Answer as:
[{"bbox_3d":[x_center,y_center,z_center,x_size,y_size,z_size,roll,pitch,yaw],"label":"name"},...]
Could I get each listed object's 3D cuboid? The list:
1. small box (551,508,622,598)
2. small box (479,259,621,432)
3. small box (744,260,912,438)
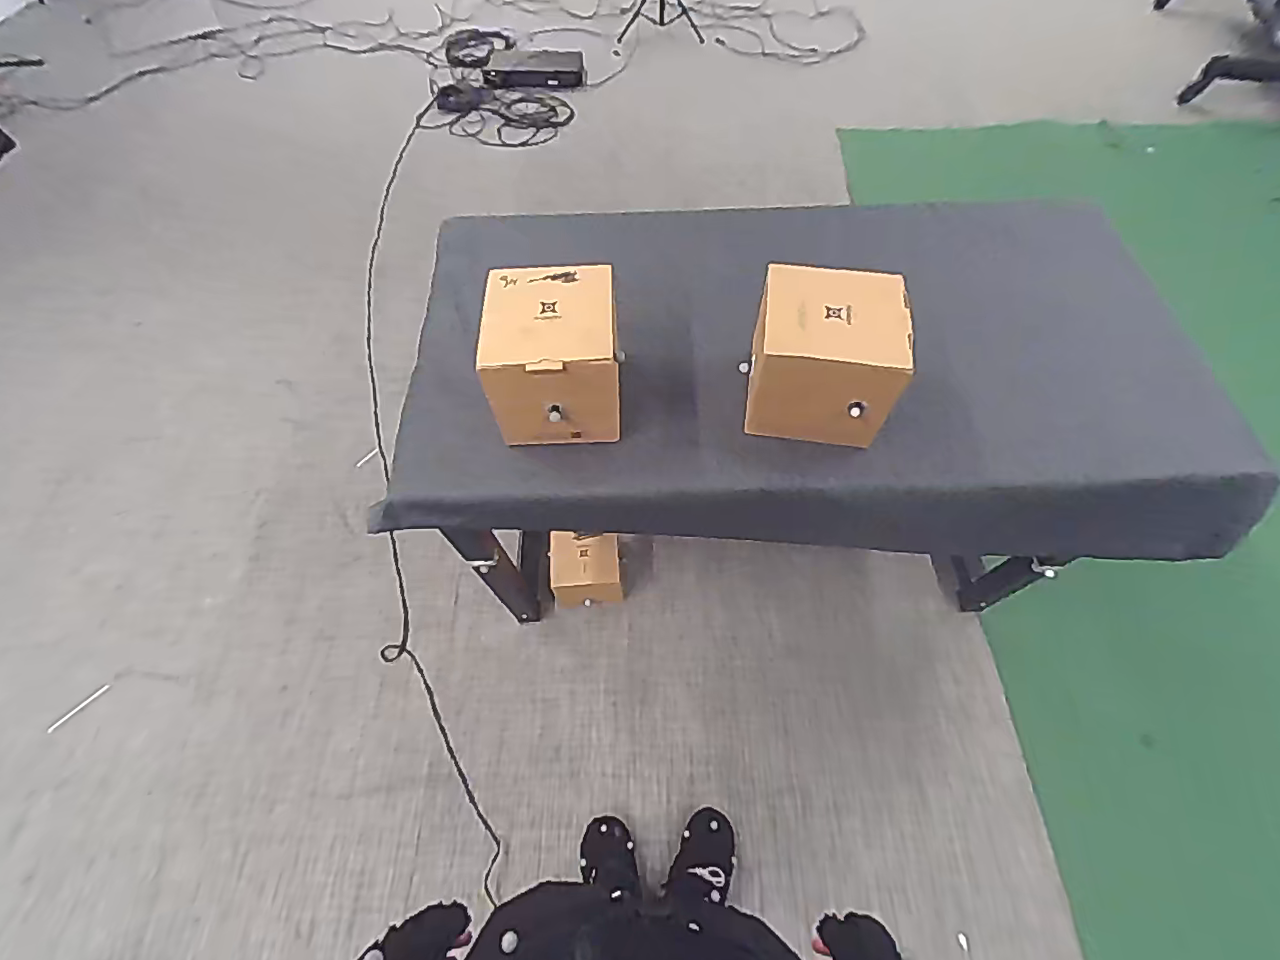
[{"bbox_3d":[-0.134,0.190,1.384,0.168,0.176,0.179,-4,62,-1],"label":"small box"},{"bbox_3d":[-0.112,-0.178,0.752,0.168,0.176,0.179,-2,61,-1],"label":"small box"},{"bbox_3d":[0.247,-0.174,0.747,0.179,0.176,0.168,6,60,6],"label":"small box"}]
